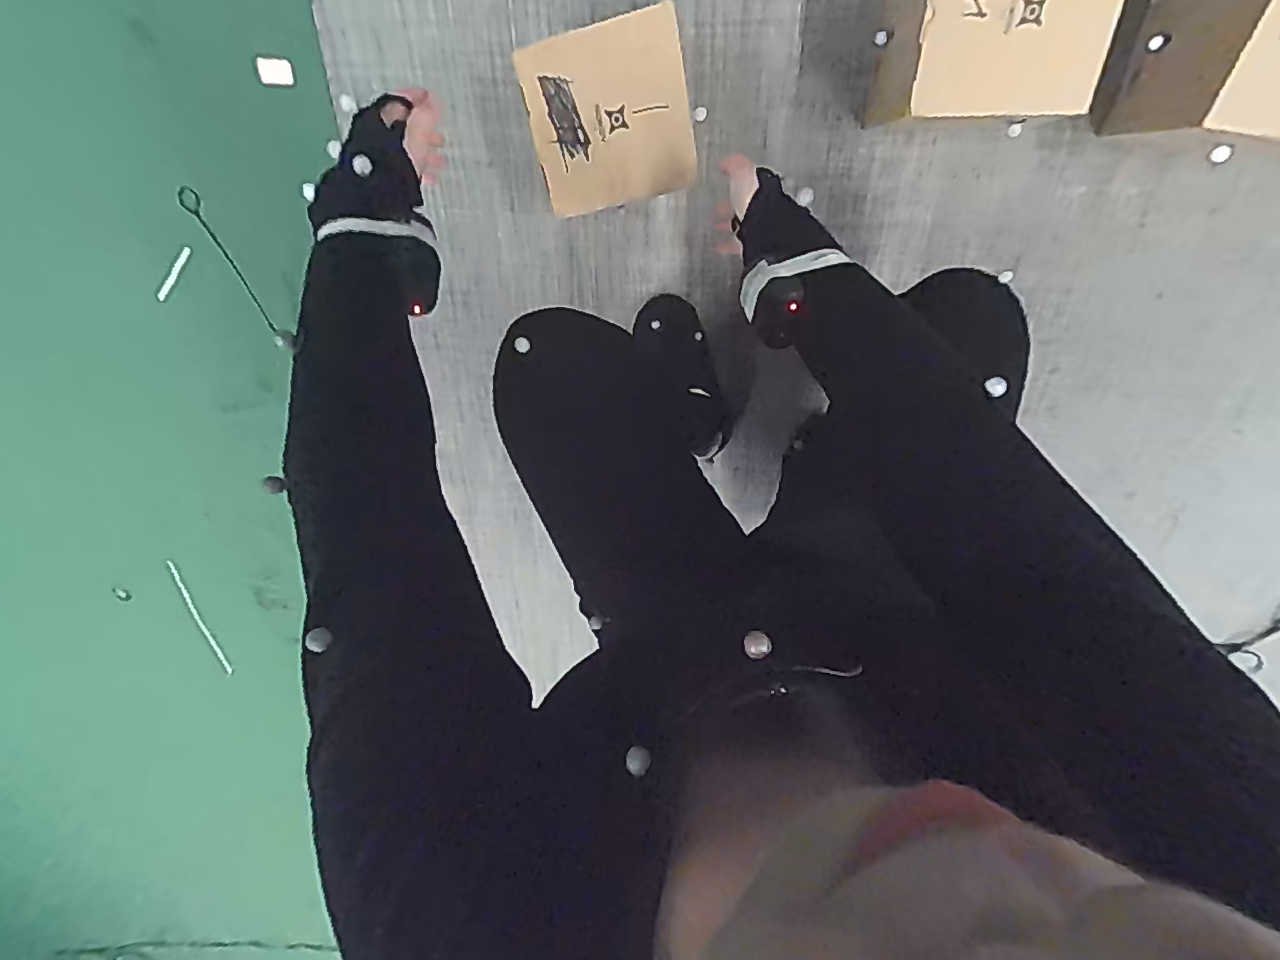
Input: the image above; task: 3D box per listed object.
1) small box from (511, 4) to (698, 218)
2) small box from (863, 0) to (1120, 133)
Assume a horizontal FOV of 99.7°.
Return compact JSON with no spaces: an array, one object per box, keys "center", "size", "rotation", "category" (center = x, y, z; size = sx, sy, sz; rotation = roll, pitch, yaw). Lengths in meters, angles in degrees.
[{"center":[-0.028,-0.423,0.650],"size":[0.179,0.176,0.168],"rotation":[-8,118,10],"category":"small box"},{"center":[0.361,-0.473,0.574],"size":[0.179,0.176,0.168],"rotation":[3,119,5],"category":"small box"}]
